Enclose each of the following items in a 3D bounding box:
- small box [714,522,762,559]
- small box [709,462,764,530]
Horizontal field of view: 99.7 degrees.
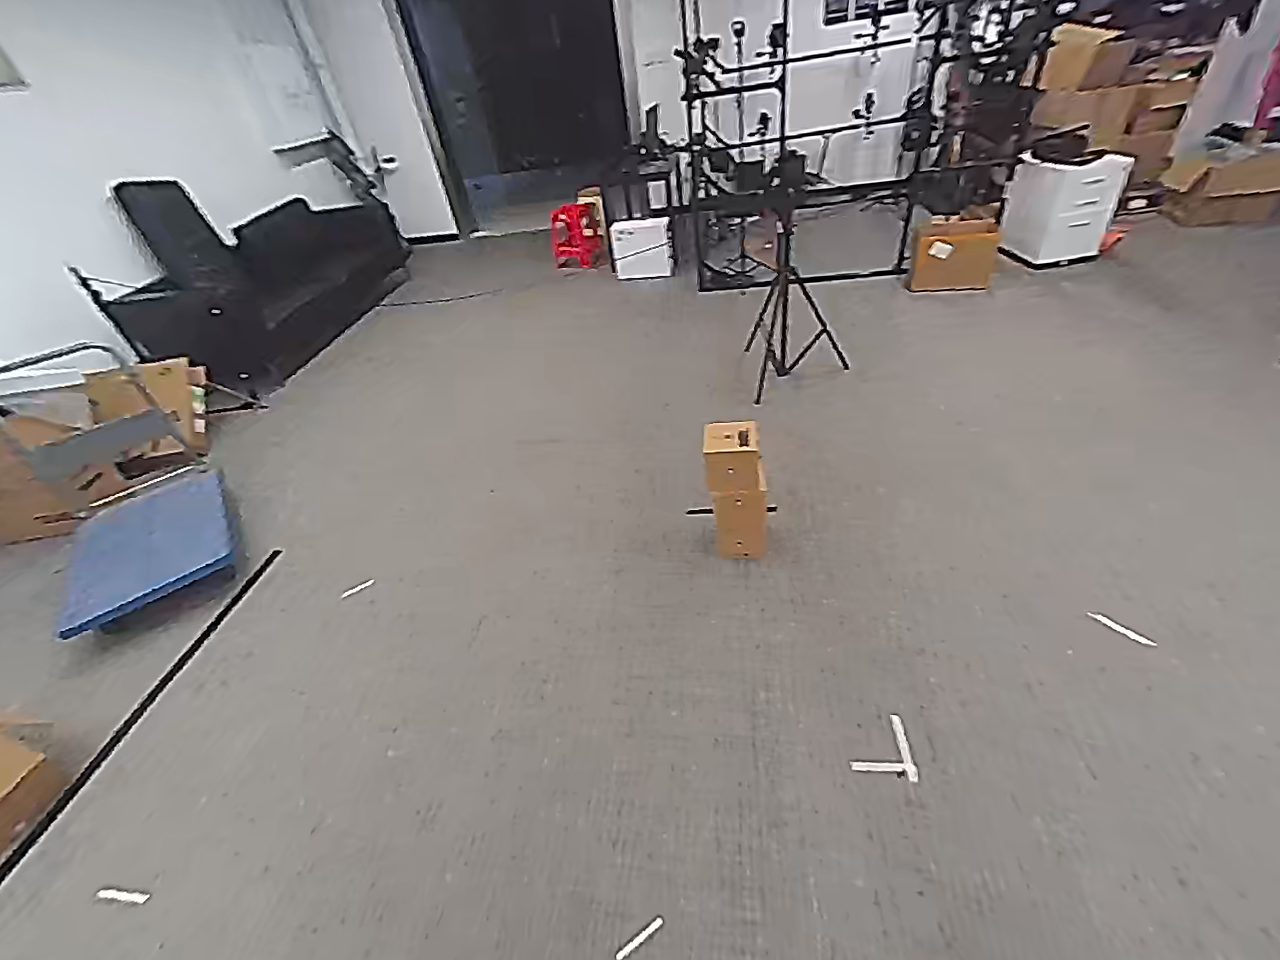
[{"bbox_3d":[0.369,0.178,2.020,0.168,0.176,0.179,0,39,12],"label":"small box"},{"bbox_3d":[0.340,0.059,1.913,0.179,0.176,0.168,-7,39,6],"label":"small box"}]
